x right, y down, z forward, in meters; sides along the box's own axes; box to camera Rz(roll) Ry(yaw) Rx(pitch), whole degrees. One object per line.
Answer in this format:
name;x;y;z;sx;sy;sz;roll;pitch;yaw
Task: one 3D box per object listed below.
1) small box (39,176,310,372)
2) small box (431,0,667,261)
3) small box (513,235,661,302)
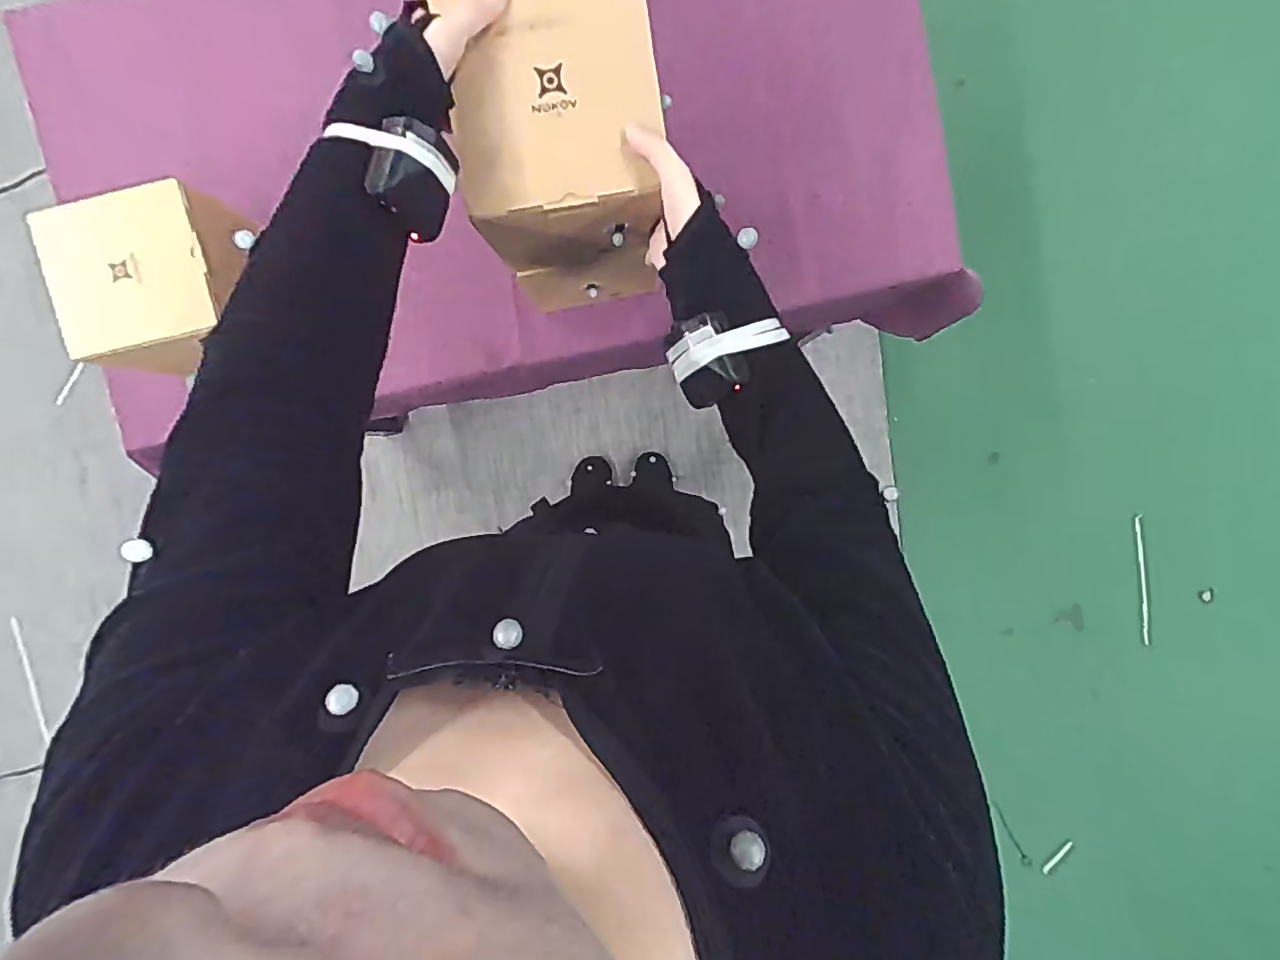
small box;-0.563;-0.241;0.679;0.179;0.176;0.168;-13;93;1
small box;-0.068;-0.315;0.497;0.168;0.176;0.179;-8;97;0
small box;-0.067;-0.329;0.664;0.168;0.176;0.179;-10;94;1
